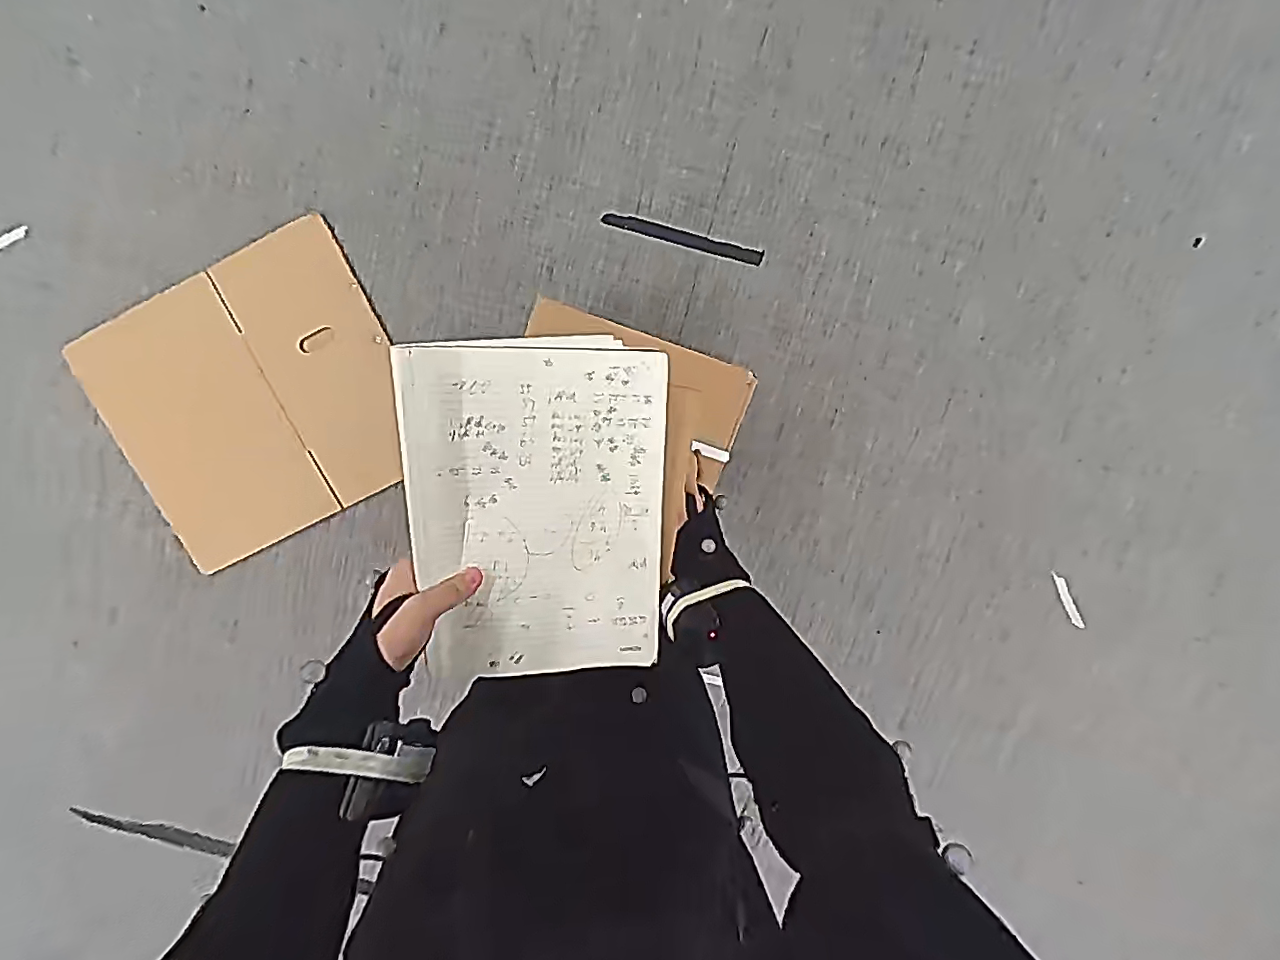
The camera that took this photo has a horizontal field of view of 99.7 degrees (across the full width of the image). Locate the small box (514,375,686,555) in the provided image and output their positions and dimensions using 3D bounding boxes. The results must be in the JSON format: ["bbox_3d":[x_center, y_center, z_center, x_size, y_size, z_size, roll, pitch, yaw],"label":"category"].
[{"bbox_3d":[-0.045,-0.029,0.710,0.168,0.176,0.179,19,101,-2],"label":"small box"}]
